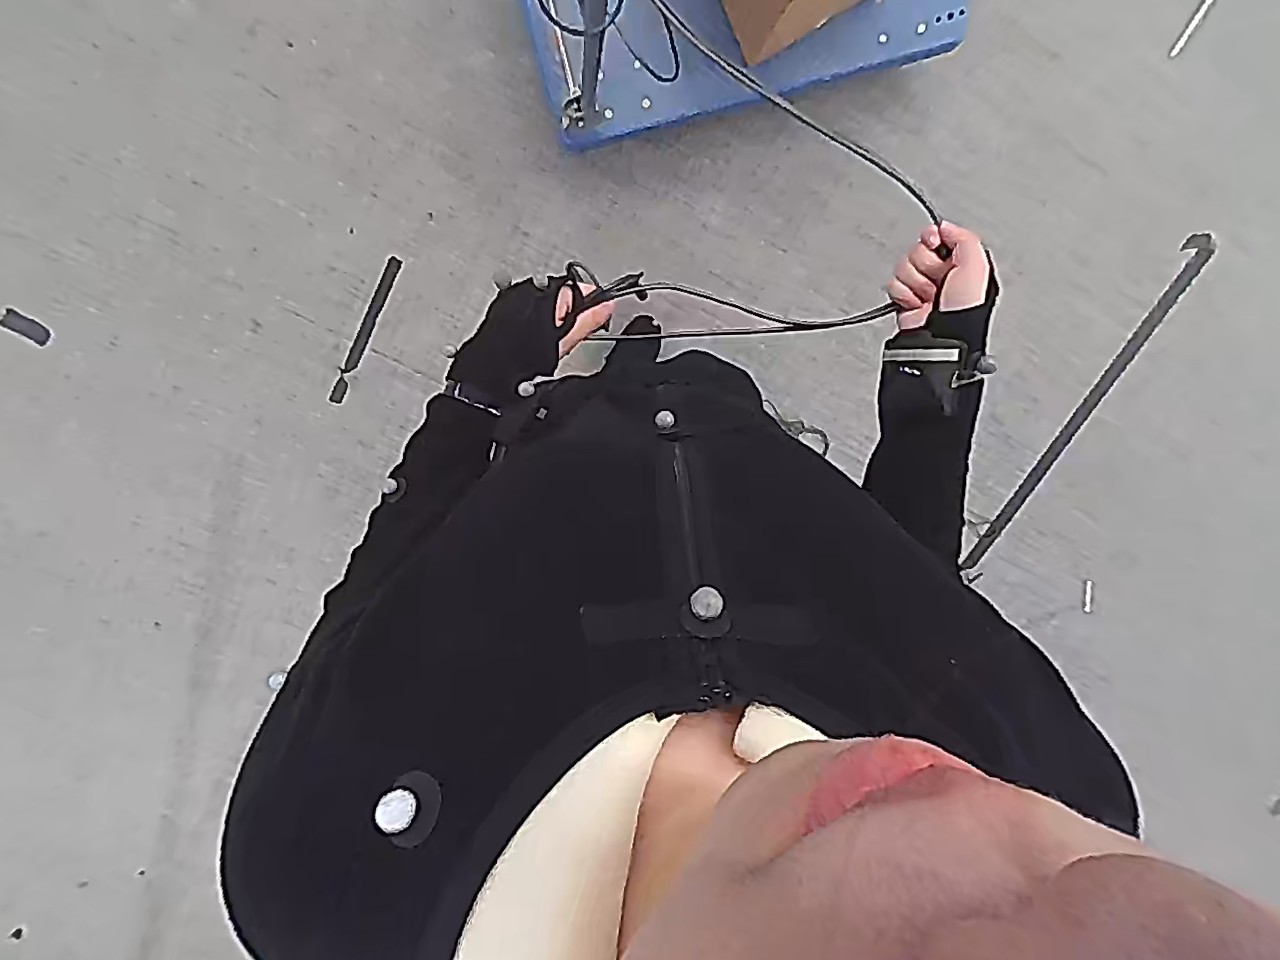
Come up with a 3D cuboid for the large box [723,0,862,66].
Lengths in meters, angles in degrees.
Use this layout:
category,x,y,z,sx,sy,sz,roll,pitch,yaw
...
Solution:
category,x,y,z,sx,sy,sz,roll,pitch,yaw
large box,0.269,-1.021,0.881,0.320,0.320,0.408,-29,108,6
